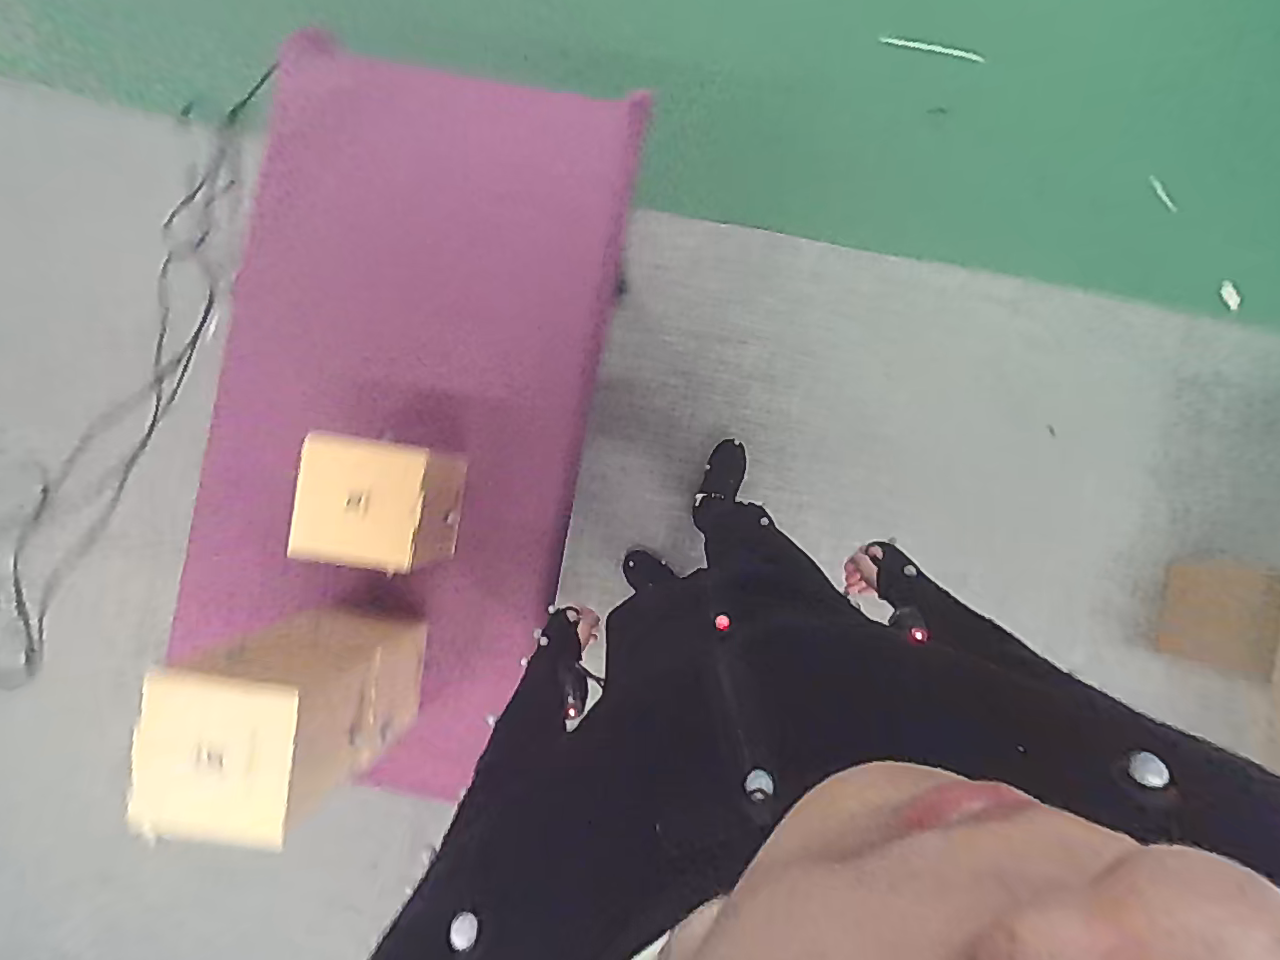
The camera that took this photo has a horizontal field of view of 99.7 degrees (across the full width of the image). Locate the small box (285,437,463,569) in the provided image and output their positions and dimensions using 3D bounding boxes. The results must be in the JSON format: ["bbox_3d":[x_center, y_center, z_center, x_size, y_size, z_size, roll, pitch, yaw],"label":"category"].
[{"bbox_3d":[-0.392,0.035,0.825,0.179,0.176,0.168,7,89,0],"label":"small box"}]

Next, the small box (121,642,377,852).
[{"bbox_3d":[-0.453,0.303,0.653,0.179,0.176,0.168,7,89,1],"label":"small box"}]
